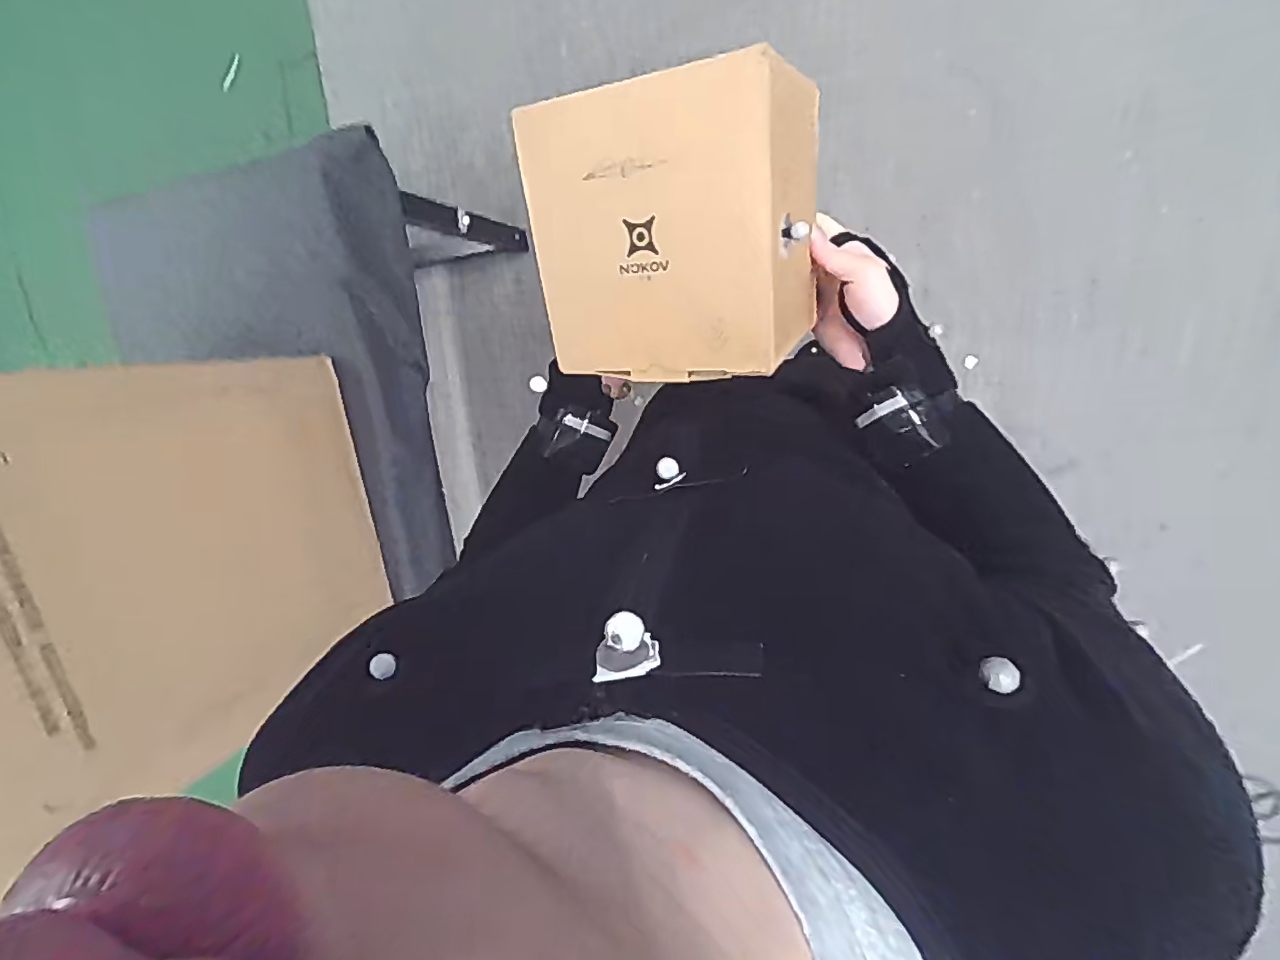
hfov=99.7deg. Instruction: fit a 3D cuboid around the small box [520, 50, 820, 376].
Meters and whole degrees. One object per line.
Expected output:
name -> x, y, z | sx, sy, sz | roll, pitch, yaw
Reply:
small box -> 0.039, -0.189, 0.411 | 0.168, 0.176, 0.179 | 6, 118, 24
